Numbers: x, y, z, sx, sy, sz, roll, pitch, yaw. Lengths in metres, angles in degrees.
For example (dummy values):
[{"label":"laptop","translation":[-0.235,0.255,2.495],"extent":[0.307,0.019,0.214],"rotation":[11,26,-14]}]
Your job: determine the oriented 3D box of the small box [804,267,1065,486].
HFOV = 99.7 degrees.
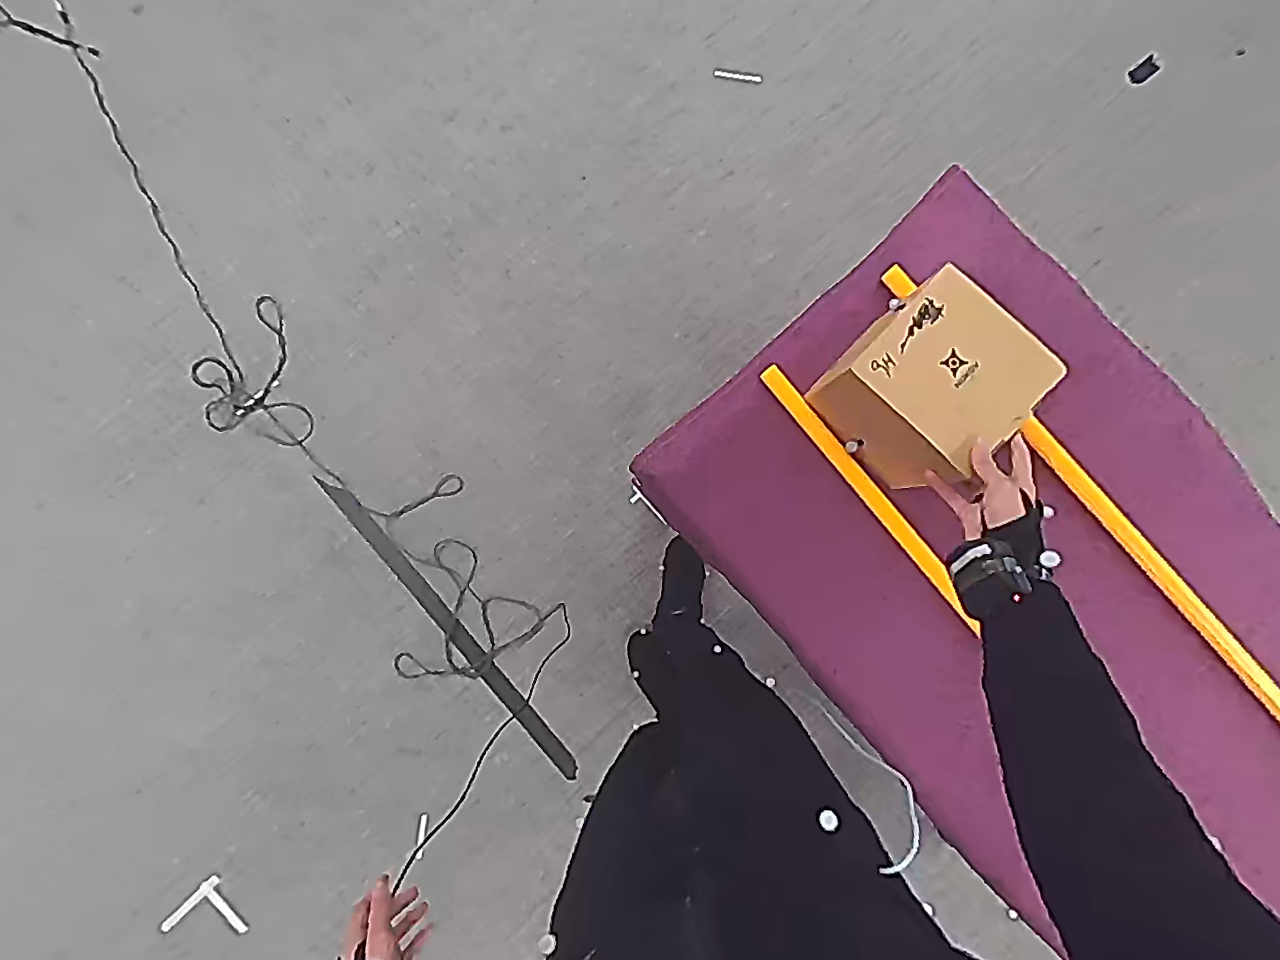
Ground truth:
[{"label":"small box","translation":[0.334,-0.108,0.650],"extent":[0.179,0.176,0.168],"rotation":[44,86,2]}]
